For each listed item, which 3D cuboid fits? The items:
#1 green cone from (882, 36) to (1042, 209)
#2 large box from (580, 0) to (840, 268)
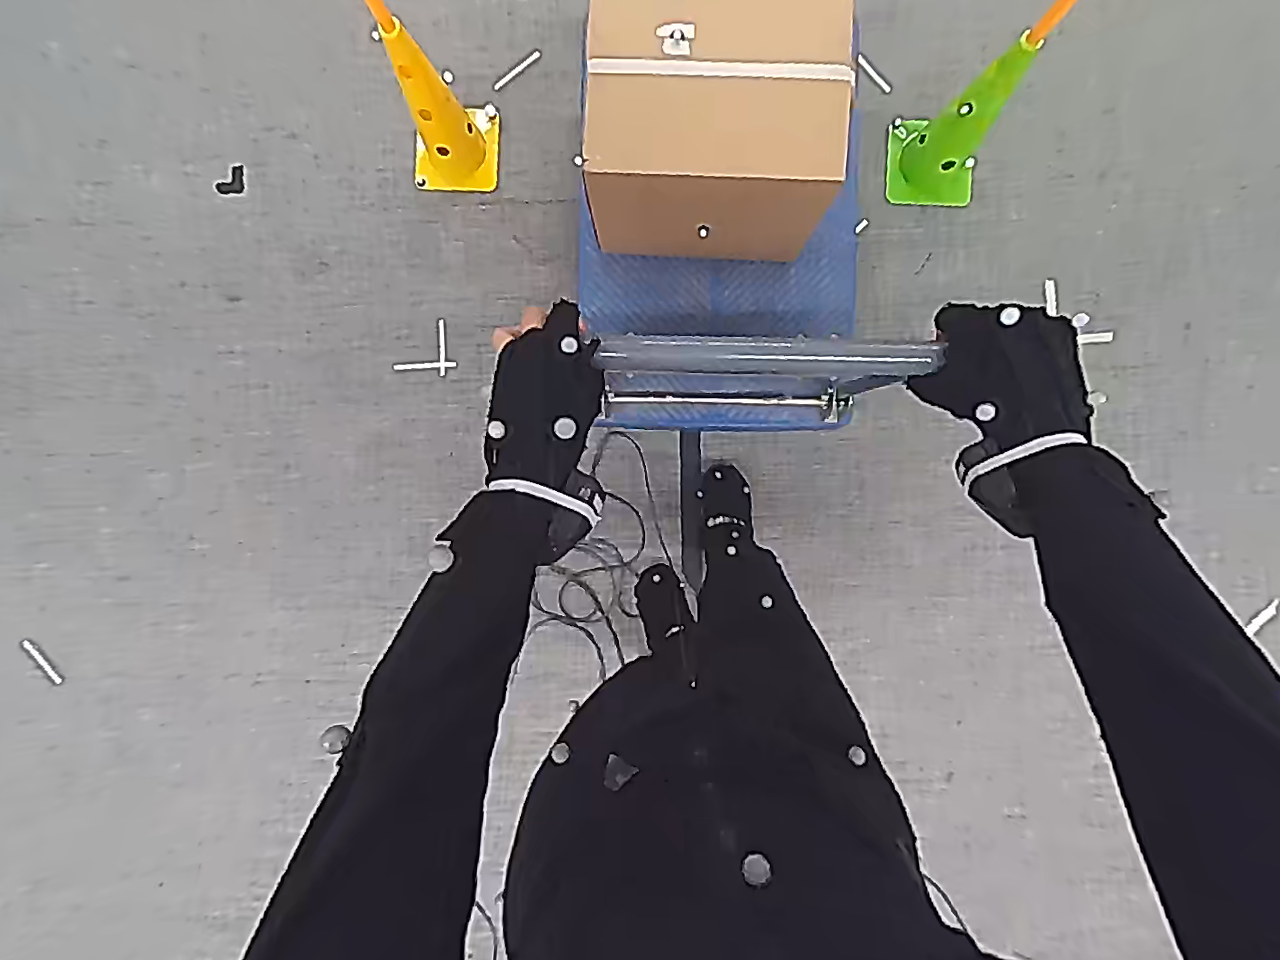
[{"bbox_3d":[0.680,-0.753,1.124,0.202,0.368,0.200,3,89,0],"label":"green cone"},{"bbox_3d":[0.116,-0.599,0.995,0.408,0.320,0.320,3,90,2],"label":"large box"}]
